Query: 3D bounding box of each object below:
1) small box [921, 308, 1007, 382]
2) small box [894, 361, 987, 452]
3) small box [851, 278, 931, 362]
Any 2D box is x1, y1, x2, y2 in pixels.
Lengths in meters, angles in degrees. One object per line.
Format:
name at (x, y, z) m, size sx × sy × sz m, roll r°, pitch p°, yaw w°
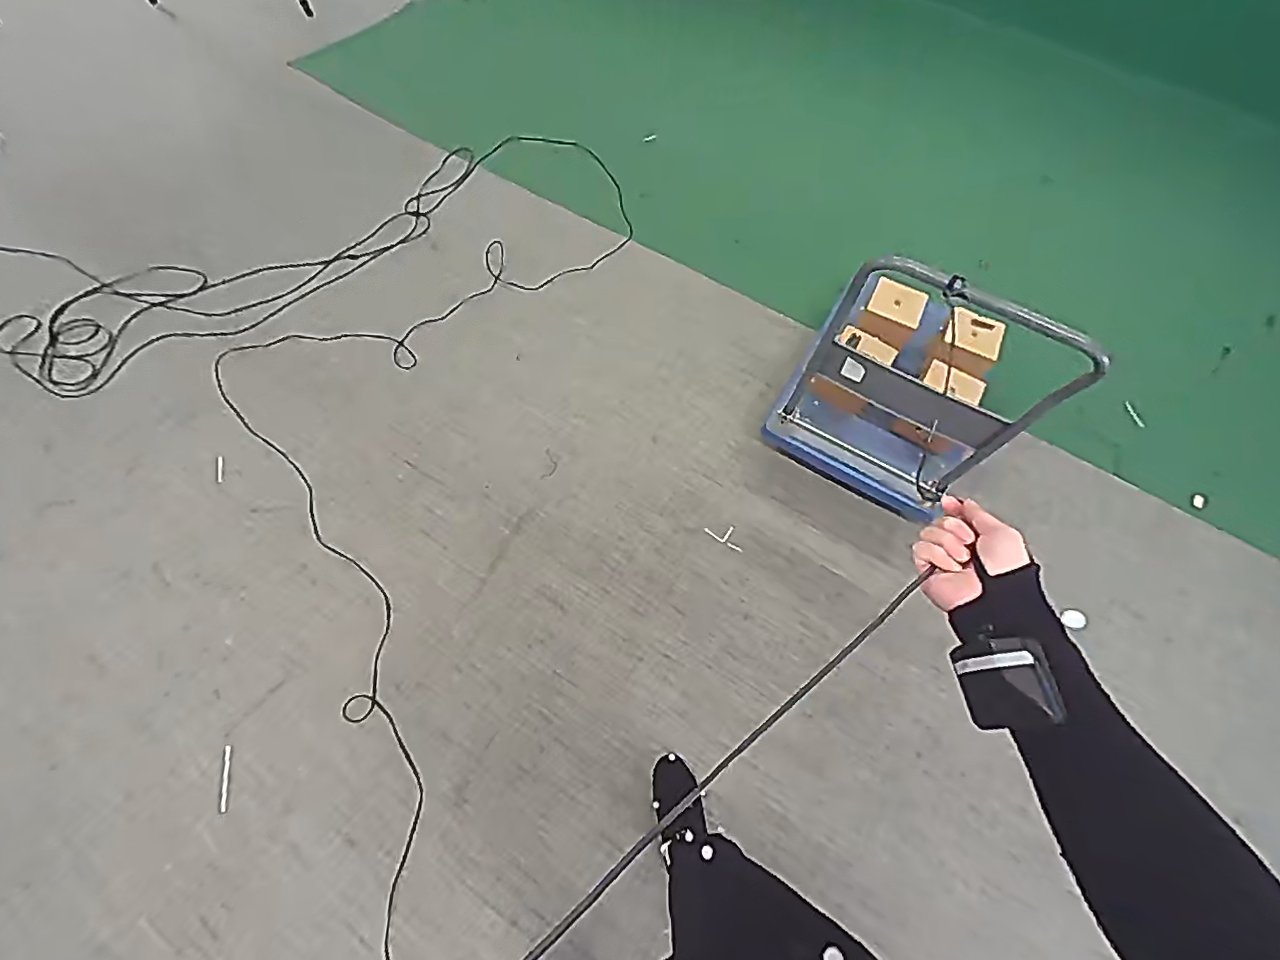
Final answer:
small box at (1.053, -0.419, 1.766) m, size 0.168 × 0.176 × 0.179 m, roll 27°, pitch 65°, yaw 10°
small box at (0.910, -0.221, 1.651) m, size 0.168 × 0.176 × 0.179 m, roll 31°, pitch 65°, yaw 12°
small box at (0.831, -0.529, 1.808) m, size 0.168 × 0.176 × 0.179 m, roll 27°, pitch 64°, yaw 9°
